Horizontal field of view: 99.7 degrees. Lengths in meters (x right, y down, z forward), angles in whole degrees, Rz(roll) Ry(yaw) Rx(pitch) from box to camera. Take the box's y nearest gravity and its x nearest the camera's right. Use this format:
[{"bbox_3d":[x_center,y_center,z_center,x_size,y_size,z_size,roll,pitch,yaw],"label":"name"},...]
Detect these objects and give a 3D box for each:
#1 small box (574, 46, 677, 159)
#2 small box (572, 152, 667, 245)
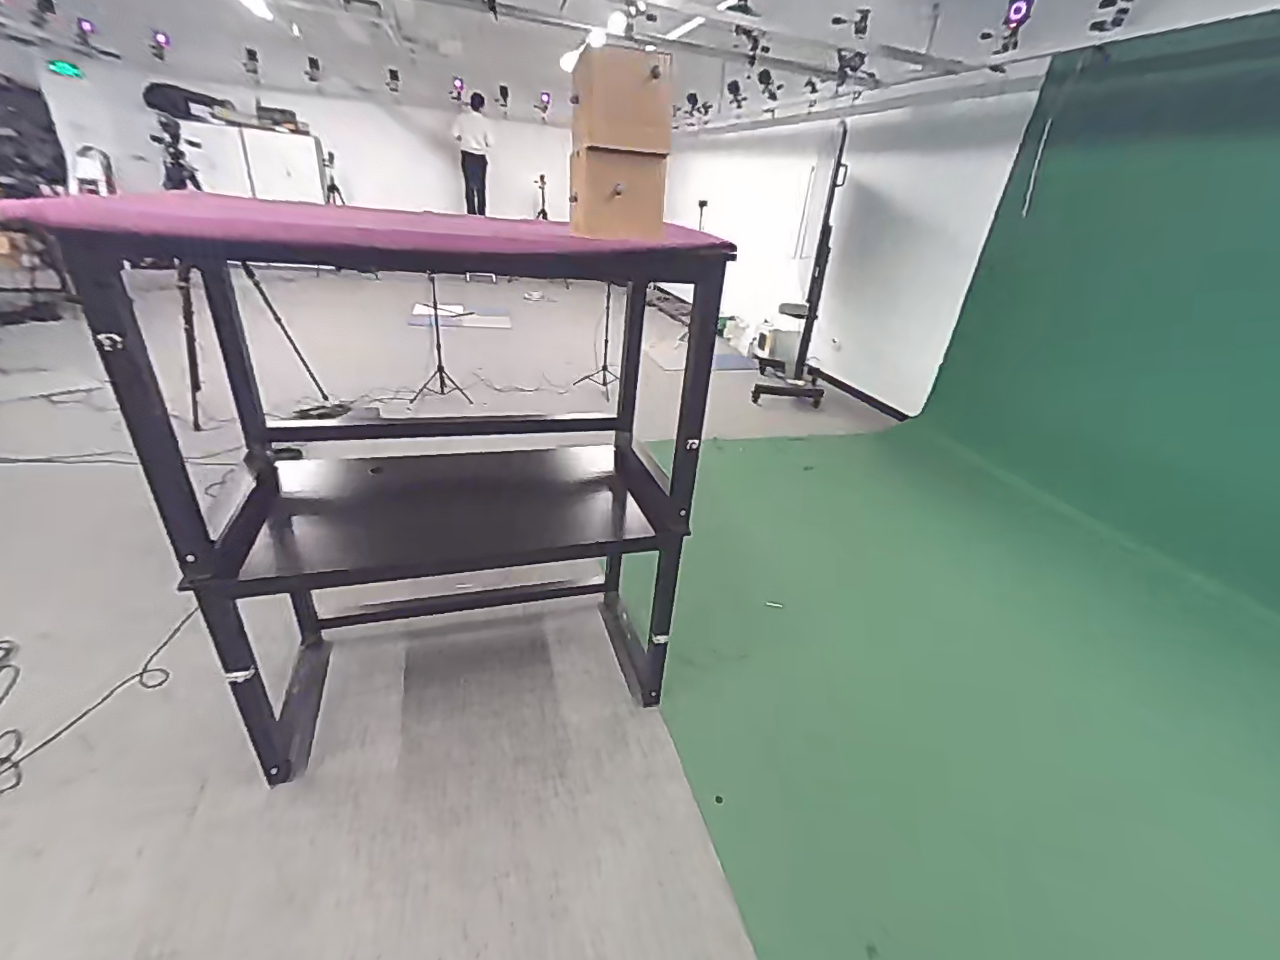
[{"bbox_3d":[-0.035,-0.752,1.107,0.179,0.176,0.168,-5,27,-17],"label":"small box"},{"bbox_3d":[-0.050,-0.611,1.189,0.179,0.176,0.168,-5,28,-17],"label":"small box"}]
